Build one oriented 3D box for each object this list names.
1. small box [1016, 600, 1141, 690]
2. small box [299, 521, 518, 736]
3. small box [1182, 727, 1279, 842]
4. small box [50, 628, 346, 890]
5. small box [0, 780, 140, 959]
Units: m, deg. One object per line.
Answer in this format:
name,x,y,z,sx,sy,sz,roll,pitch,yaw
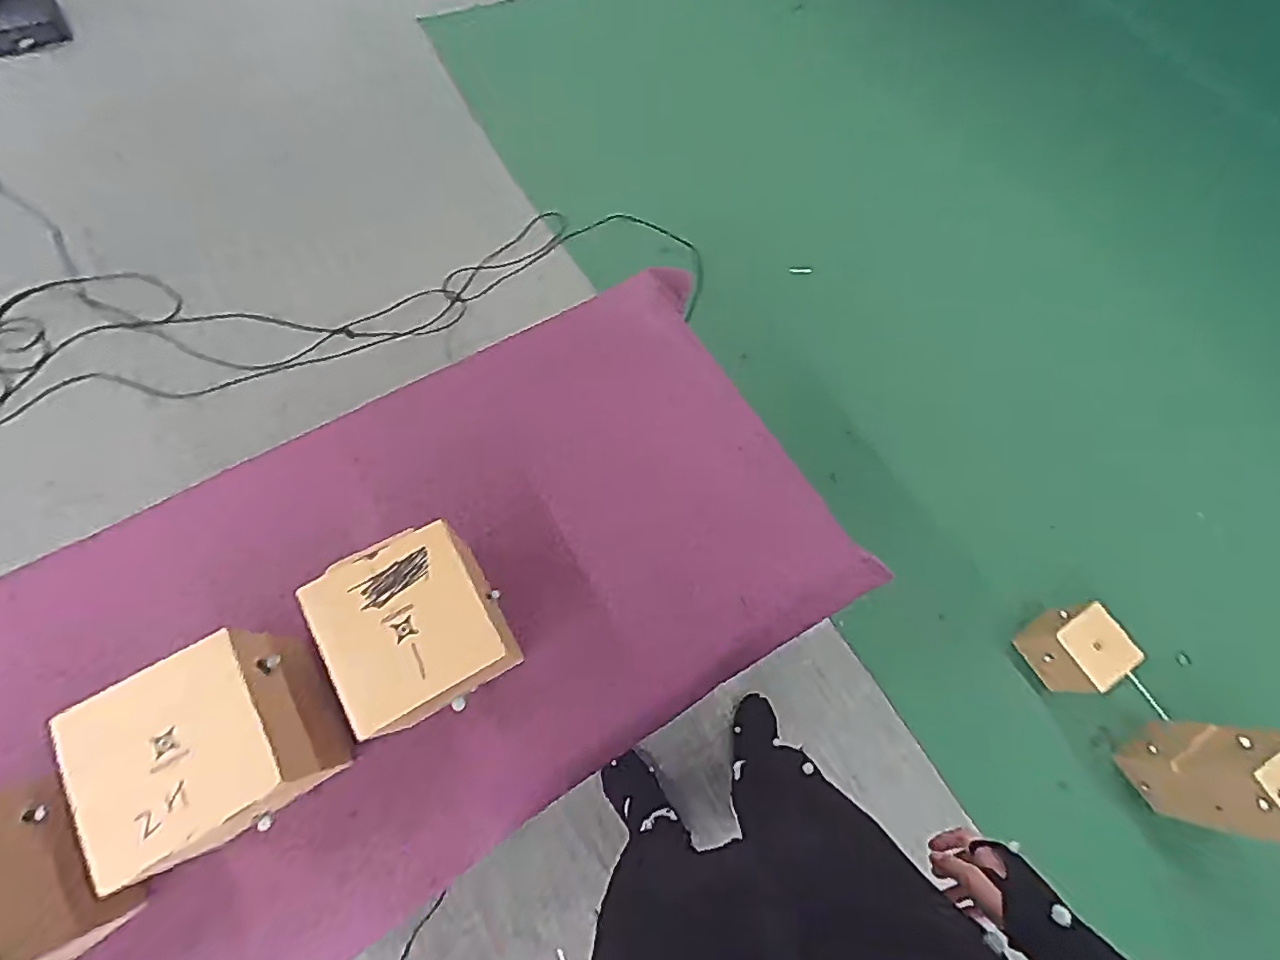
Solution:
small box,1.170,0.450,1.464,0.179,0.176,0.168,-29,75,-15
small box,-0.264,0.179,0.654,0.168,0.176,0.179,-28,76,-14
small box,1.409,0.682,1.223,0.179,0.176,0.168,-26,75,-14
small box,-0.464,0.288,0.595,0.168,0.176,0.179,-29,76,-15
small box,-0.662,0.425,0.528,0.168,0.176,0.179,-35,77,-15
